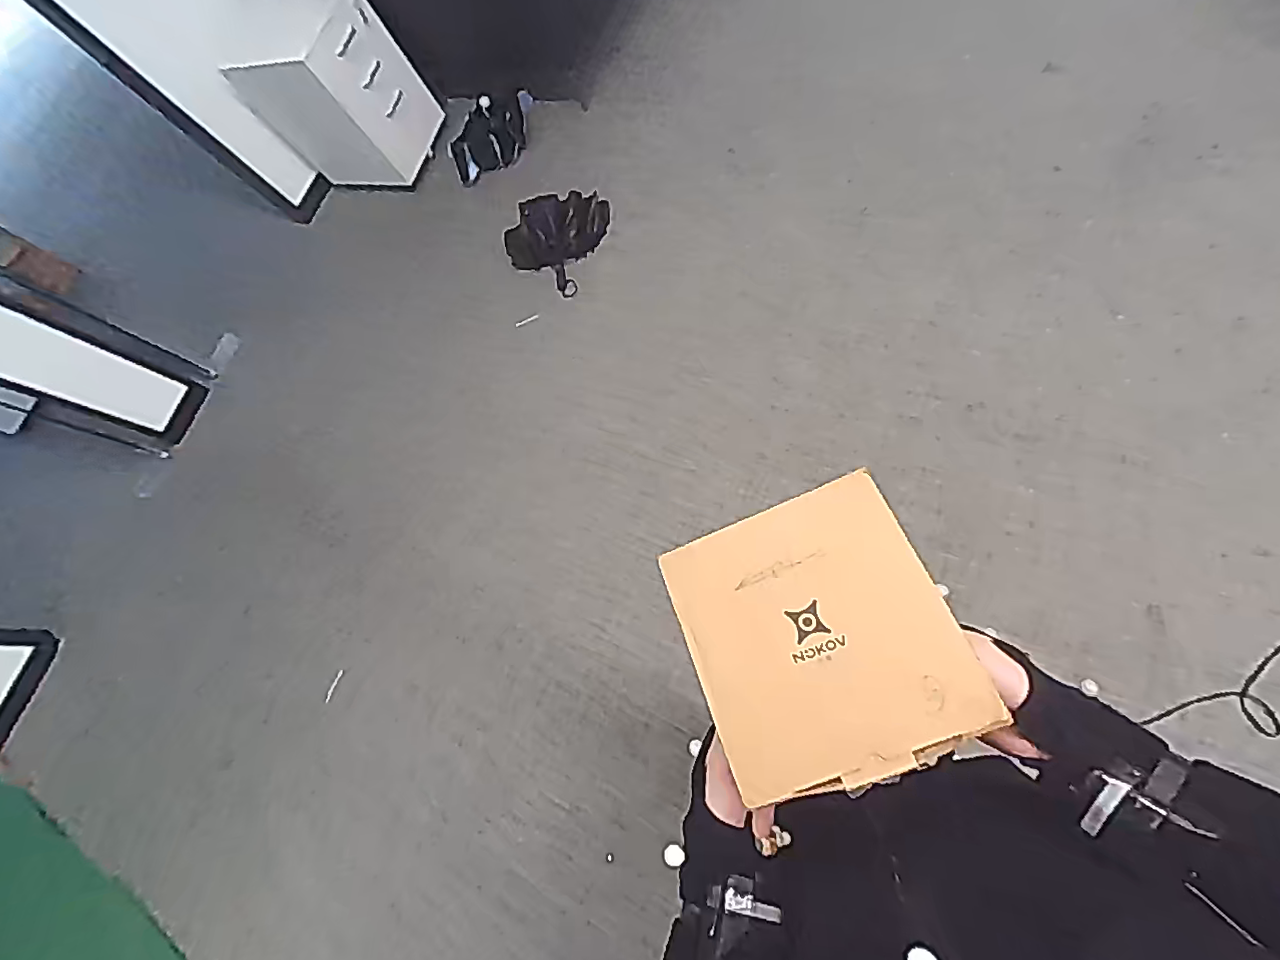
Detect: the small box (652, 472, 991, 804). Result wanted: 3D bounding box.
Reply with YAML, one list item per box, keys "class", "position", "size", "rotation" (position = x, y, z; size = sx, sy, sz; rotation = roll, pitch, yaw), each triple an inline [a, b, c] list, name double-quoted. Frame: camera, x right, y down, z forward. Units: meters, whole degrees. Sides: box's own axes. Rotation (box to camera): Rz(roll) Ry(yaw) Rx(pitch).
- class: "small box"
  position: [0.131, 0.126, 0.430]
  size: [0.168, 0.176, 0.179]
  rotation: [-24, 62, 8]
